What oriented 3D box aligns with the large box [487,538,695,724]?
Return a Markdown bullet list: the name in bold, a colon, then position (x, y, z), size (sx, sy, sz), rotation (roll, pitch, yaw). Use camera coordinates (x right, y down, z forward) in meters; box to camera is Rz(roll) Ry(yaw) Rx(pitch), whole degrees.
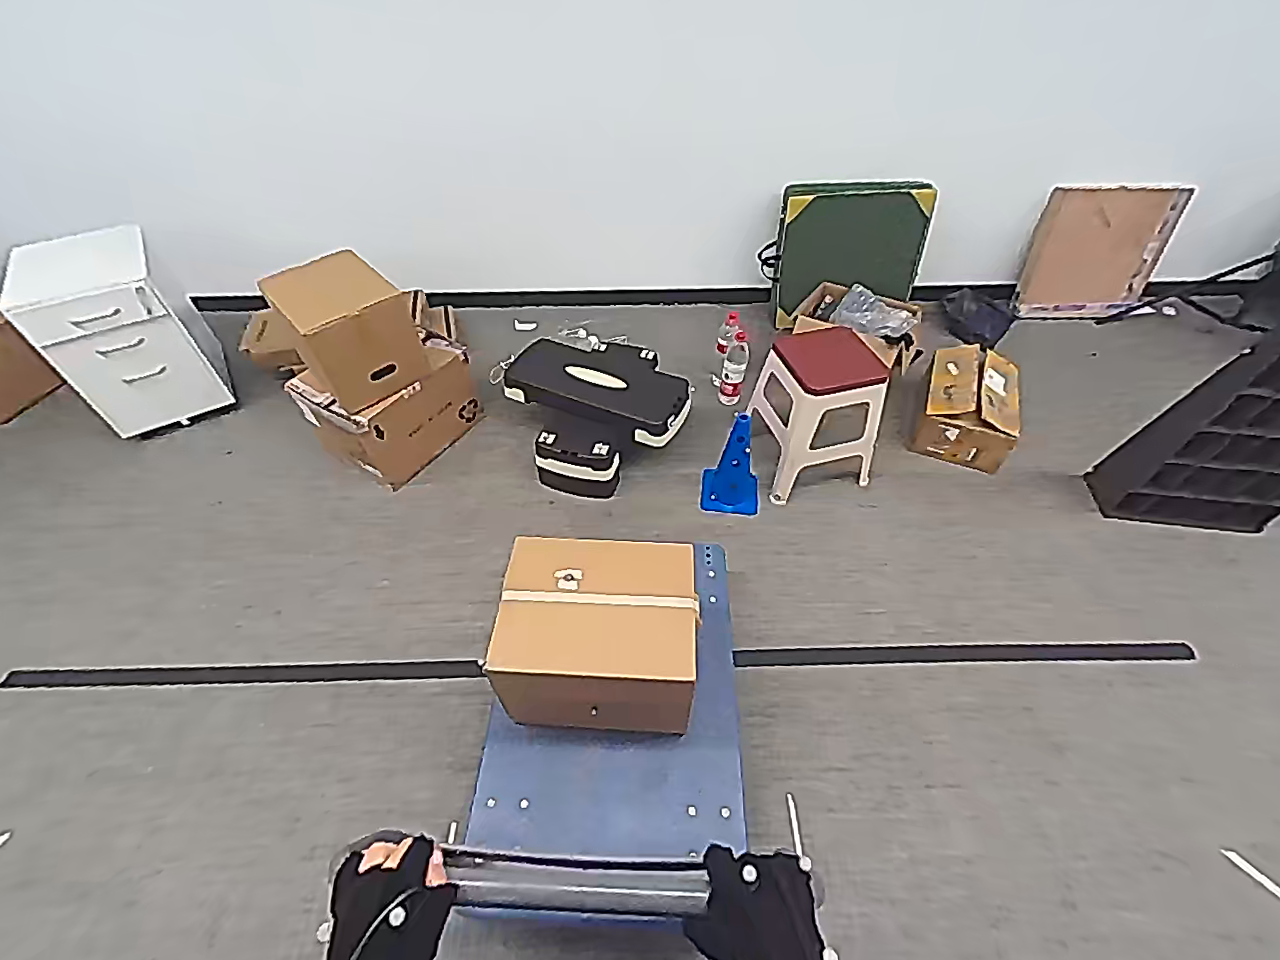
- **large box**: position (-0.086, 0.348, 1.235), size (0.408, 0.320, 0.320), rotation (2, 48, 3)
